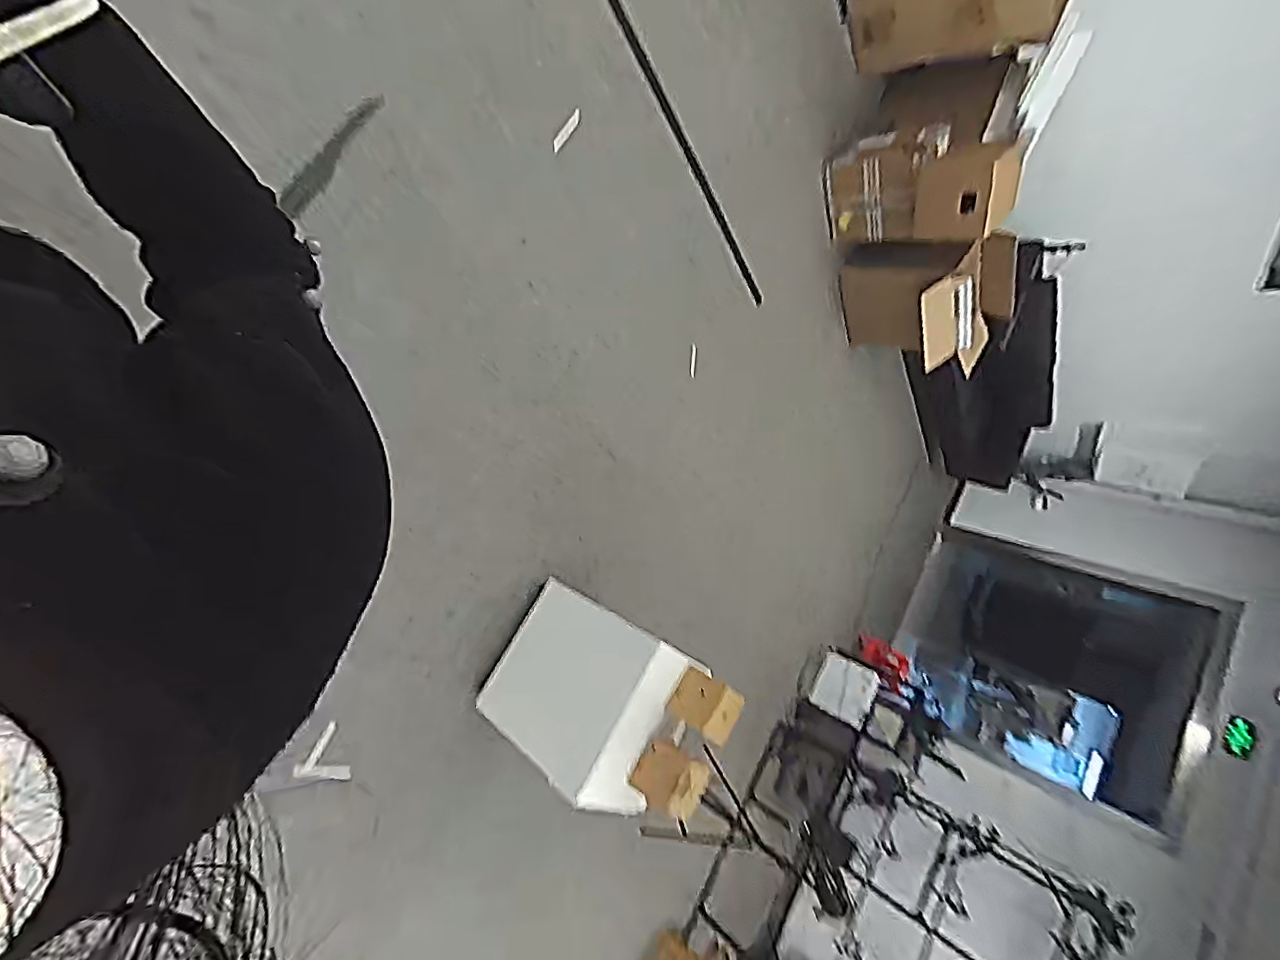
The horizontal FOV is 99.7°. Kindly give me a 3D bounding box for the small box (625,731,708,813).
[{"bbox_3d":[0.083,0.934,1.736,0.168,0.176,0.179,-59,138,-15],"label":"small box"}]

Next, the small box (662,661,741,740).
[{"bbox_3d":[0.202,0.727,1.793,0.168,0.176,0.179,-57,138,-16],"label":"small box"}]
